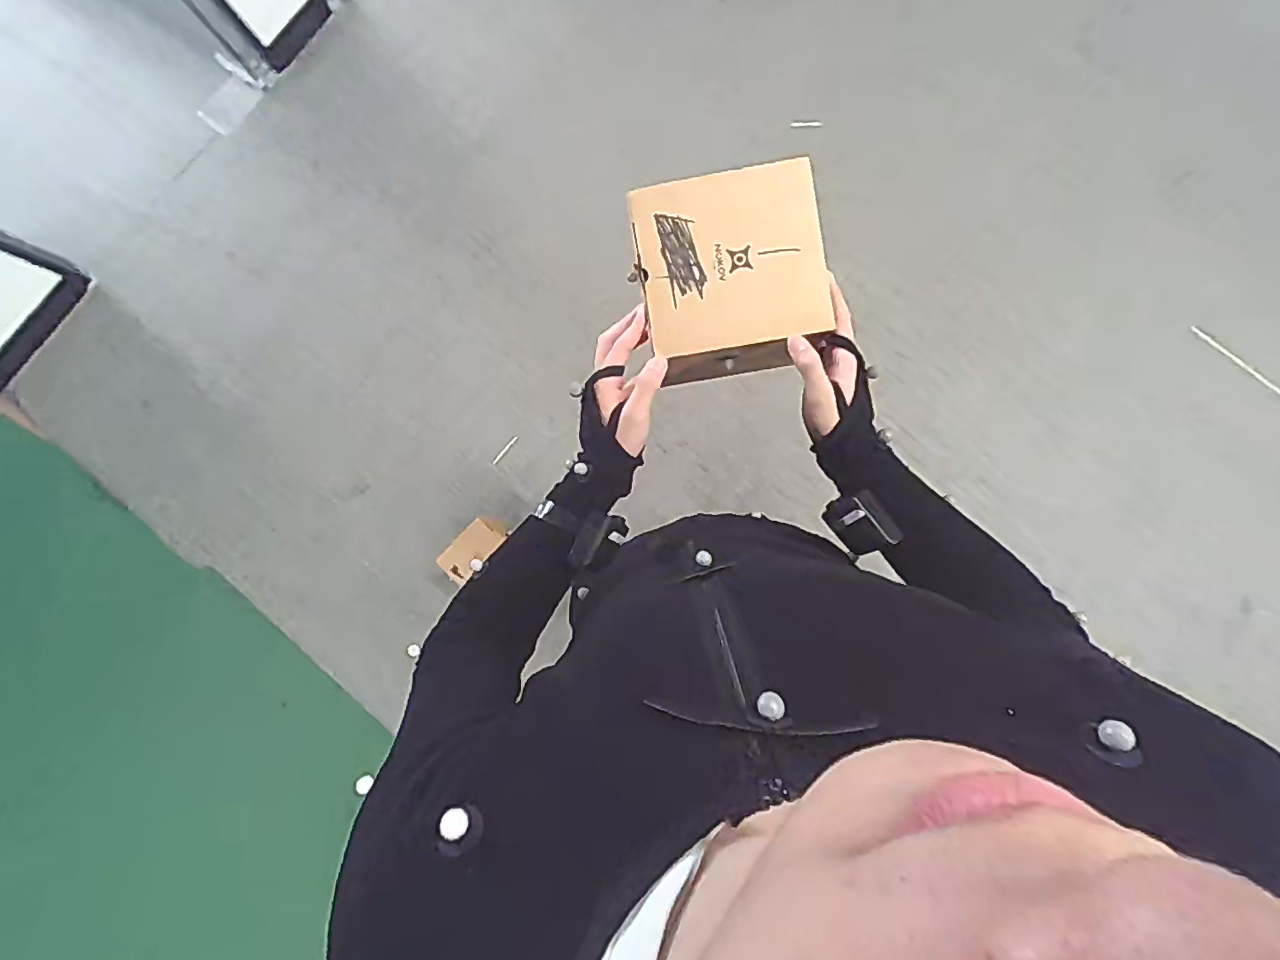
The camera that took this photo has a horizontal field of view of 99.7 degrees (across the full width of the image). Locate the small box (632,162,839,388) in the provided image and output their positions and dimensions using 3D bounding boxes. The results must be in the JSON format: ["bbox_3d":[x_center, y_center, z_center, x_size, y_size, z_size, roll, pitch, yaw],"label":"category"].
[{"bbox_3d":[0.094,-0.203,0.586,0.179,0.176,0.168,-9,90,3],"label":"small box"}]

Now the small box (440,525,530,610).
[{"bbox_3d":[-0.439,0.248,1.575,0.168,0.176,0.179,43,87,5],"label":"small box"}]
